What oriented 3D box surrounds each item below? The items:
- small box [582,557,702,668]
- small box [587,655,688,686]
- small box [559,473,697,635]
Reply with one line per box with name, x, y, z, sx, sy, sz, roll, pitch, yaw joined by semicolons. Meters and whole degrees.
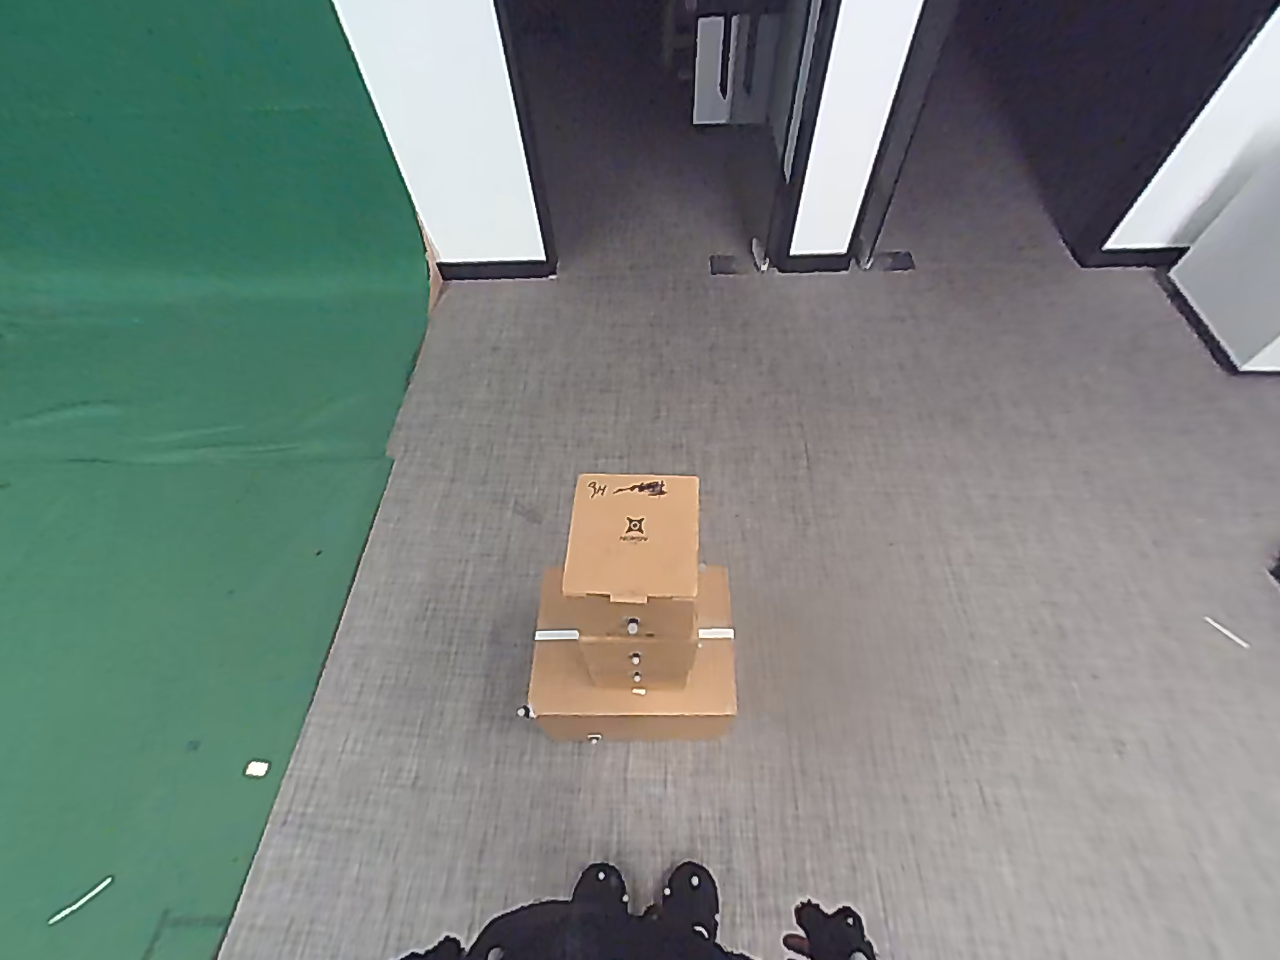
small box;0.002;0.205;0.887;0.179;0.176;0.168;-3;58;0
small box;0.002;0.289;1.029;0.179;0.176;0.168;1;58;2
small box;-0.006;0.109;0.755;0.168;0.176;0.179;2;58;5
